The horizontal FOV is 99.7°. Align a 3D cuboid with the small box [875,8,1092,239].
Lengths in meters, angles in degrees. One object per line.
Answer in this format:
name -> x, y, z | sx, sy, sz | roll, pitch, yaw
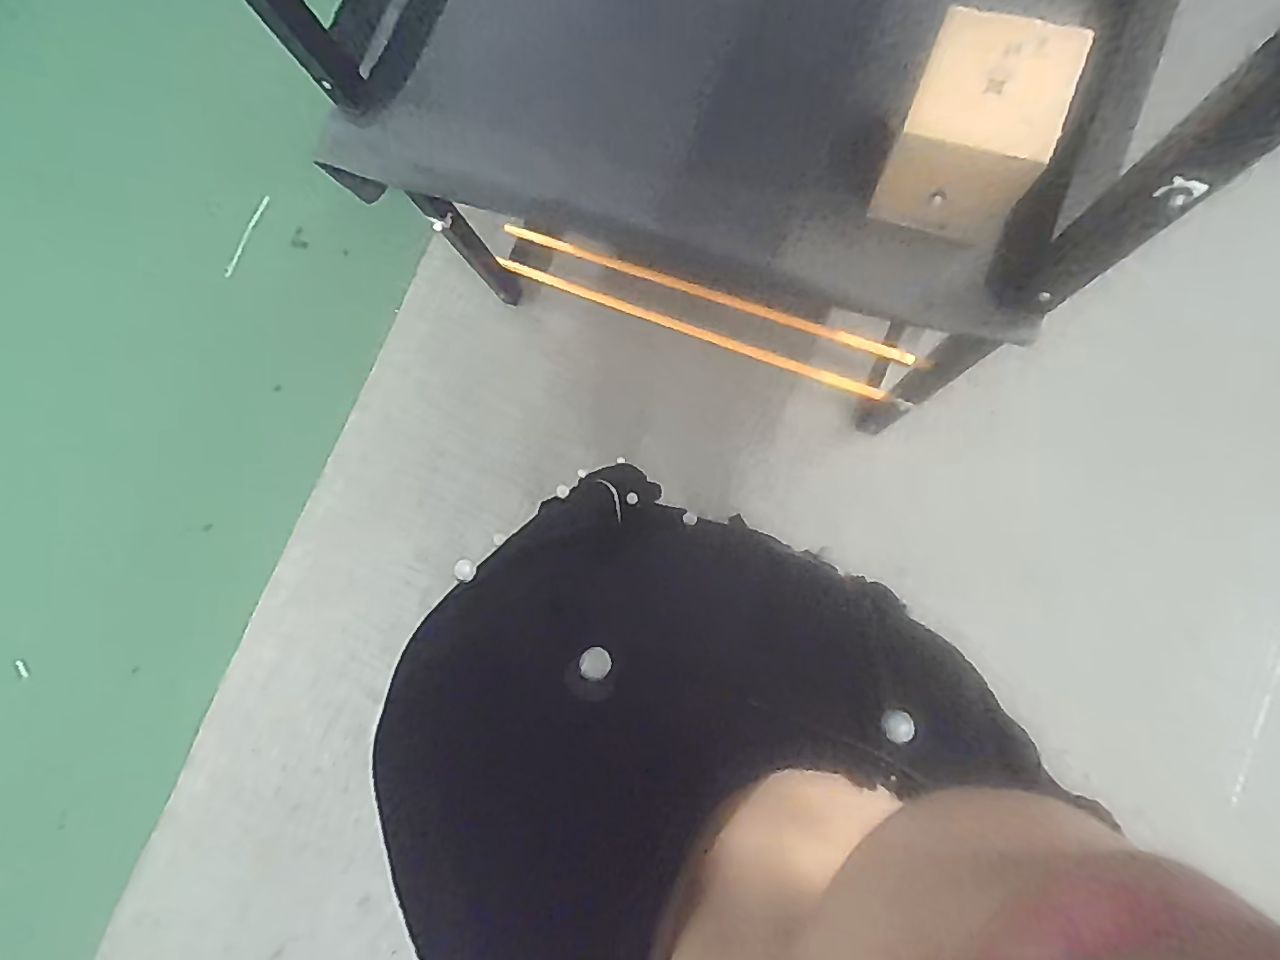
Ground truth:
small box -> 0.429, -0.452, 0.710 | 0.168, 0.176, 0.179 | 21, 85, 11
